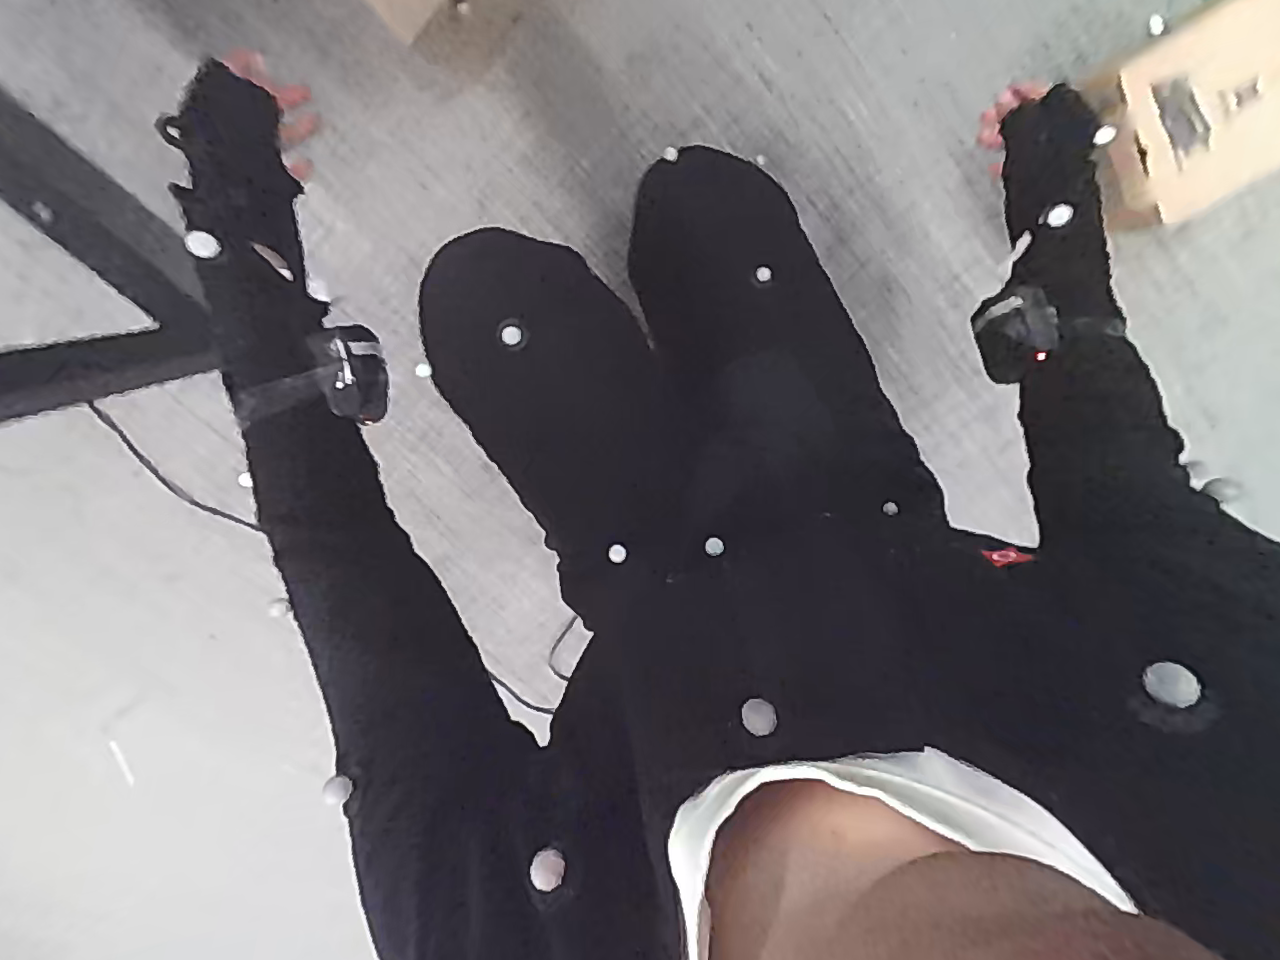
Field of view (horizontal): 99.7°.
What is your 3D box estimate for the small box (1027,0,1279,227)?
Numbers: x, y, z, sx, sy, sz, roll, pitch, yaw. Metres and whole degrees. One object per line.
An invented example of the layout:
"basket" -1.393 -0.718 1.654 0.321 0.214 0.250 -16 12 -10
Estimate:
"small box" 0.563 -0.397 0.586 0.179 0.176 0.168 -30 108 14
